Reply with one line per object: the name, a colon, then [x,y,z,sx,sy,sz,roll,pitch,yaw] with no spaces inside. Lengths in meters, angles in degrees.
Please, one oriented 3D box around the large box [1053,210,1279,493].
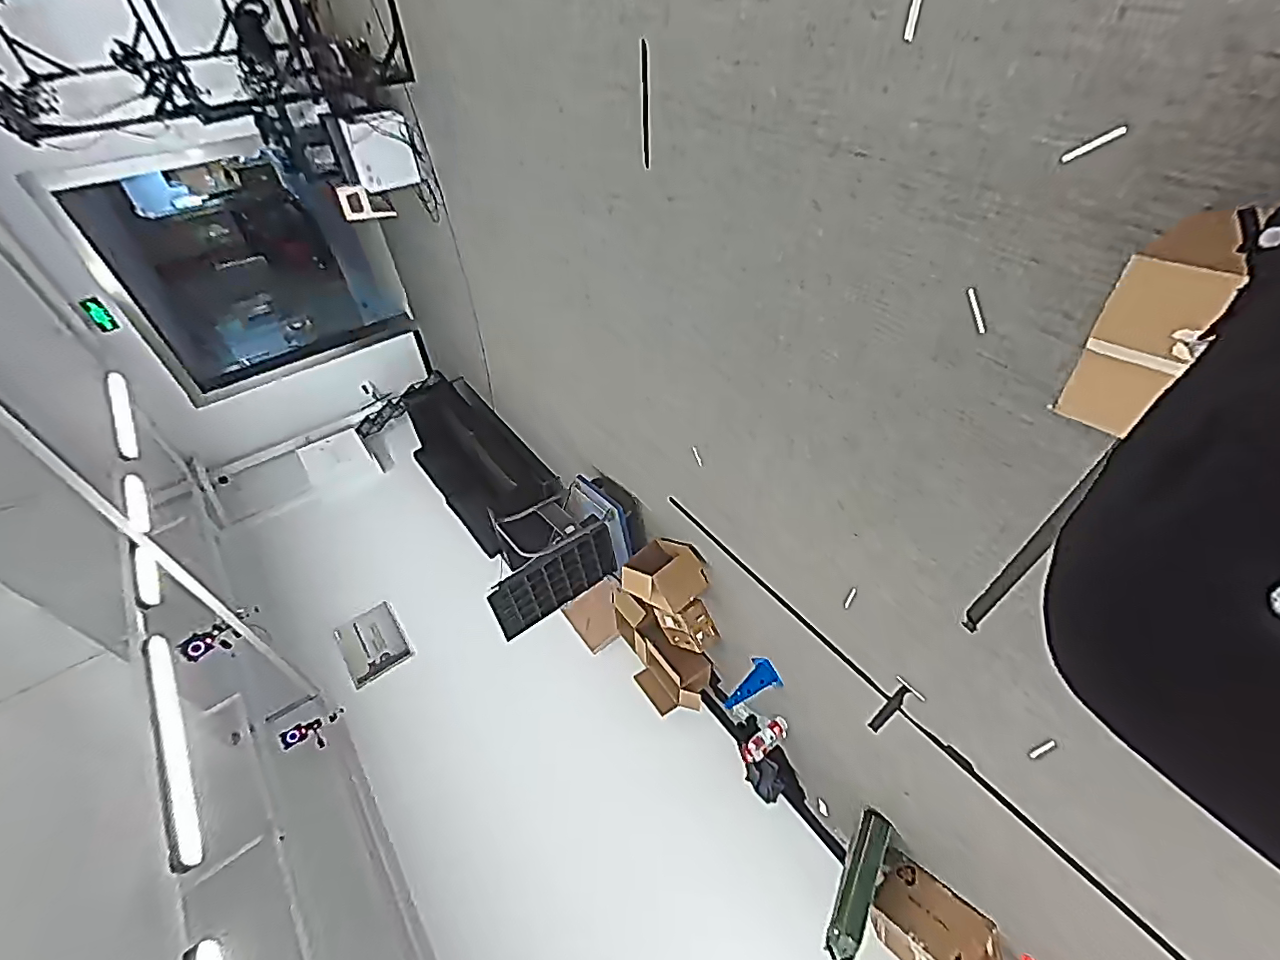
large box: [1.051,-0.229,0.918,0.408,0.320,0.320,41,148,40]
